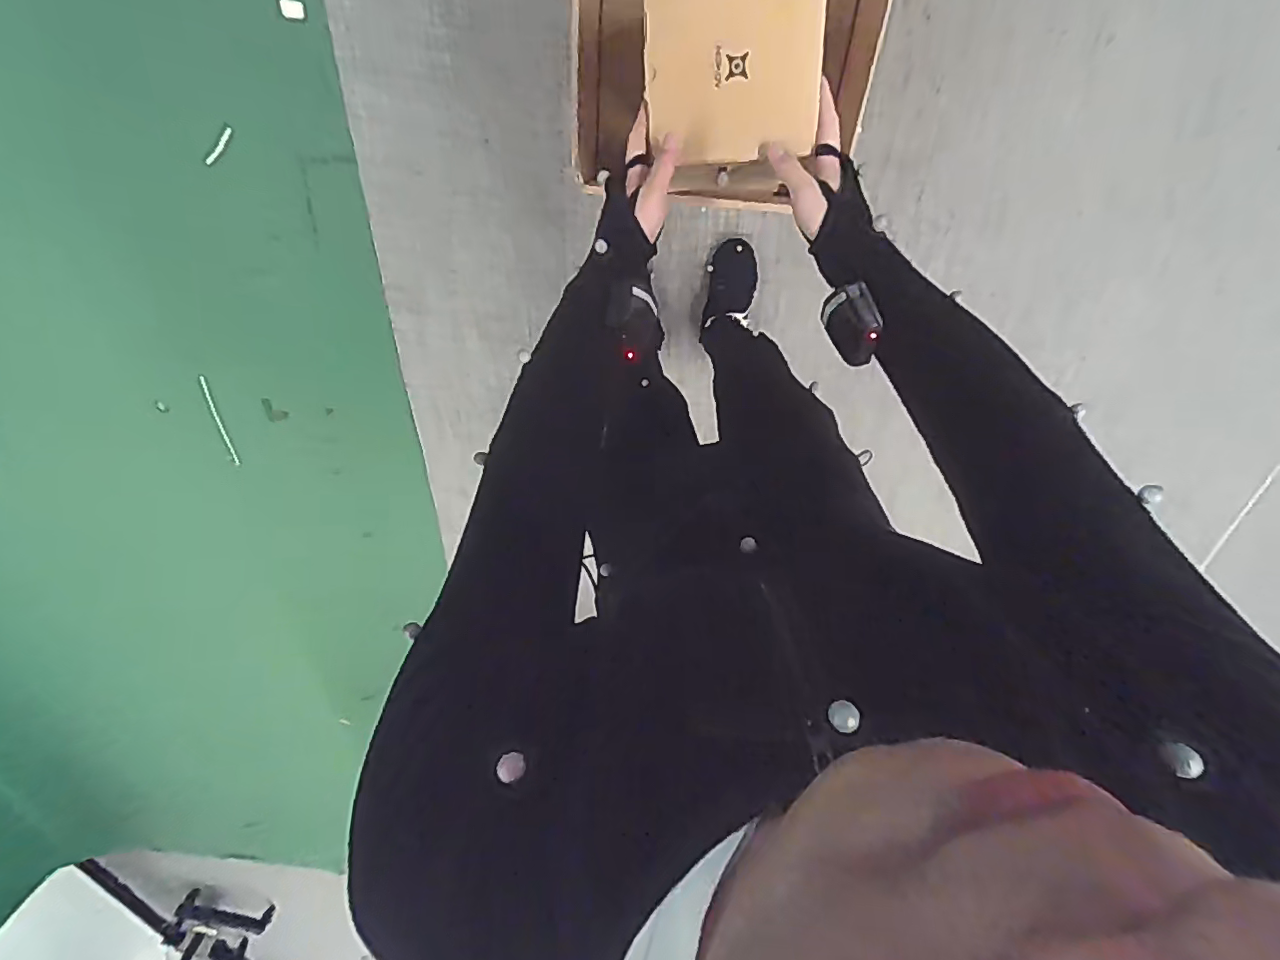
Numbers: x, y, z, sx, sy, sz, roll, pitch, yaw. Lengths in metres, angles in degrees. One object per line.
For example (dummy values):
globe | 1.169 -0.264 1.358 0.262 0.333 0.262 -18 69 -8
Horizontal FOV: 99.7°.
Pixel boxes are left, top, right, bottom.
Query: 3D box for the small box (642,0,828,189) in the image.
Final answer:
small box | 0.100 -0.431 0.602 0.179 0.176 0.168 0 111 8
